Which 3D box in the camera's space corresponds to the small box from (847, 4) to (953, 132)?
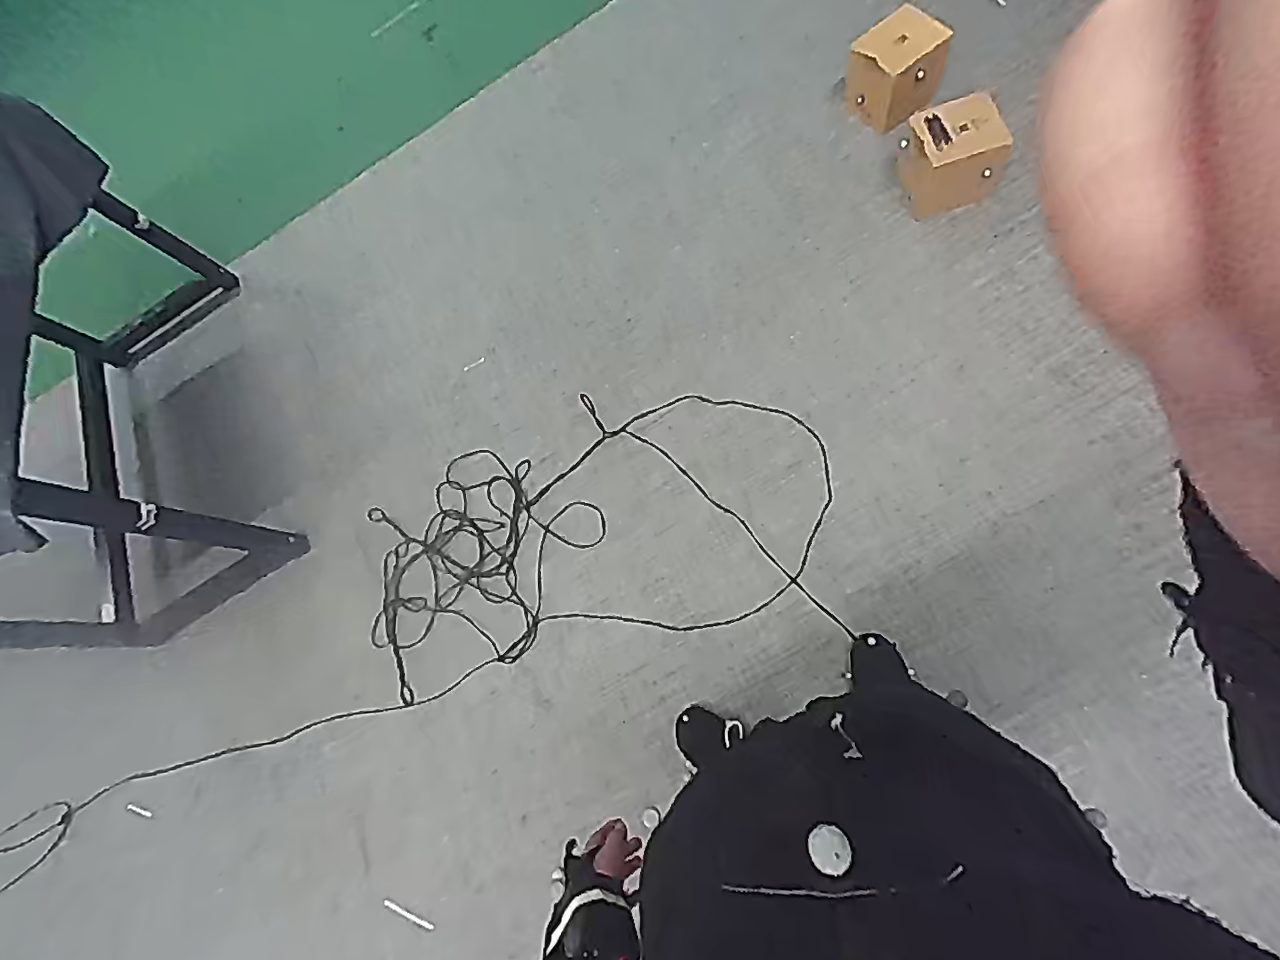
[{"bbox_3d":[0.666,-1.068,1.413,0.179,0.176,0.168,-35,69,3],"label":"small box"}]
